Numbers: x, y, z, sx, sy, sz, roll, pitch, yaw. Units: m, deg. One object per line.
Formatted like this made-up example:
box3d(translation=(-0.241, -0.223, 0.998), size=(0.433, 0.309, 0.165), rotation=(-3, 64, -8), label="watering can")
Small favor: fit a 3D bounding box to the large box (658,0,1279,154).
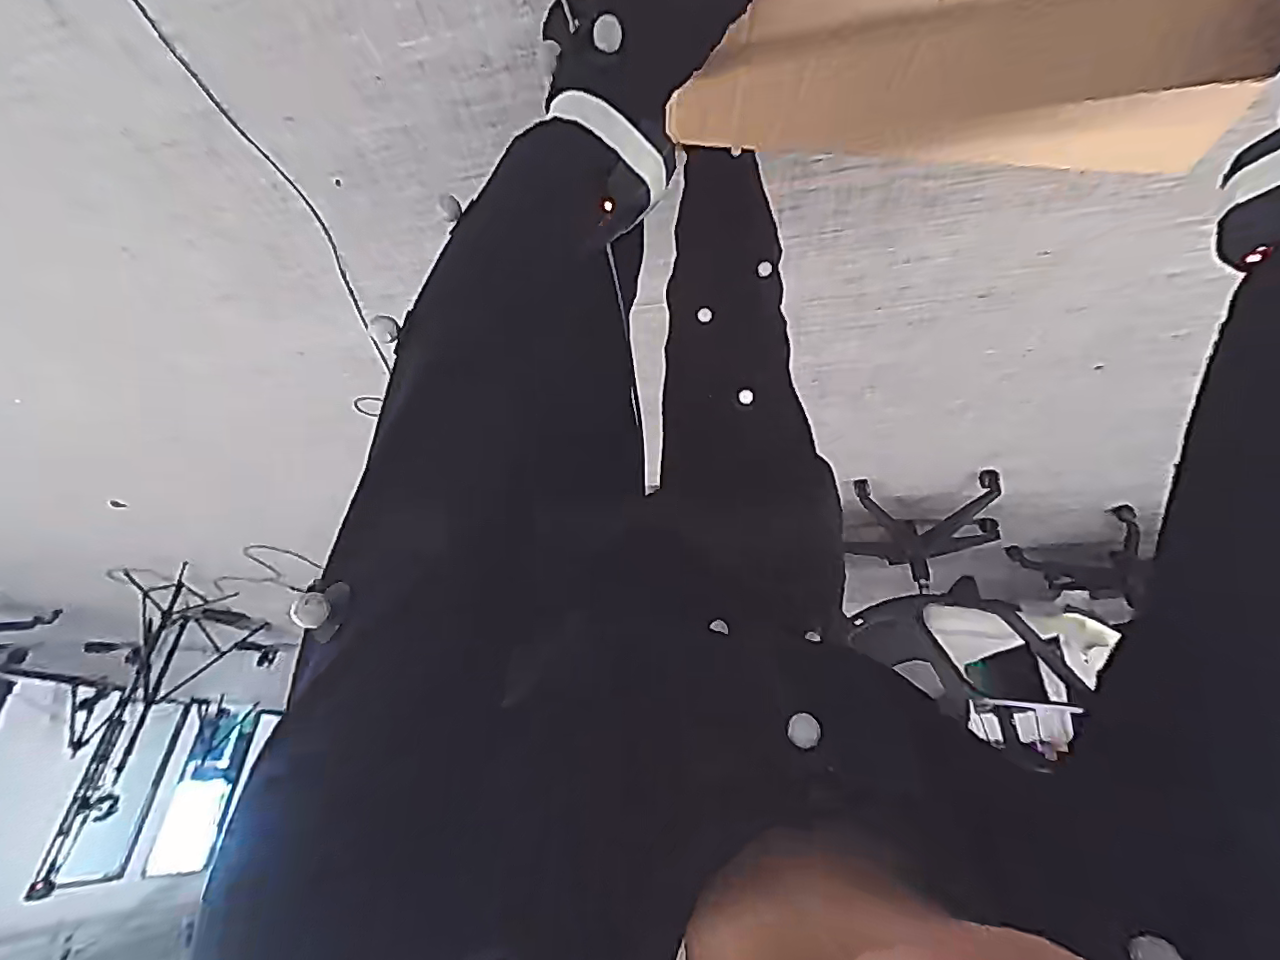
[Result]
box3d(translation=(0.227, -0.475, 0.368), size=(0.408, 0.320, 0.320), rotation=(4, 151, 0), label="large box")
